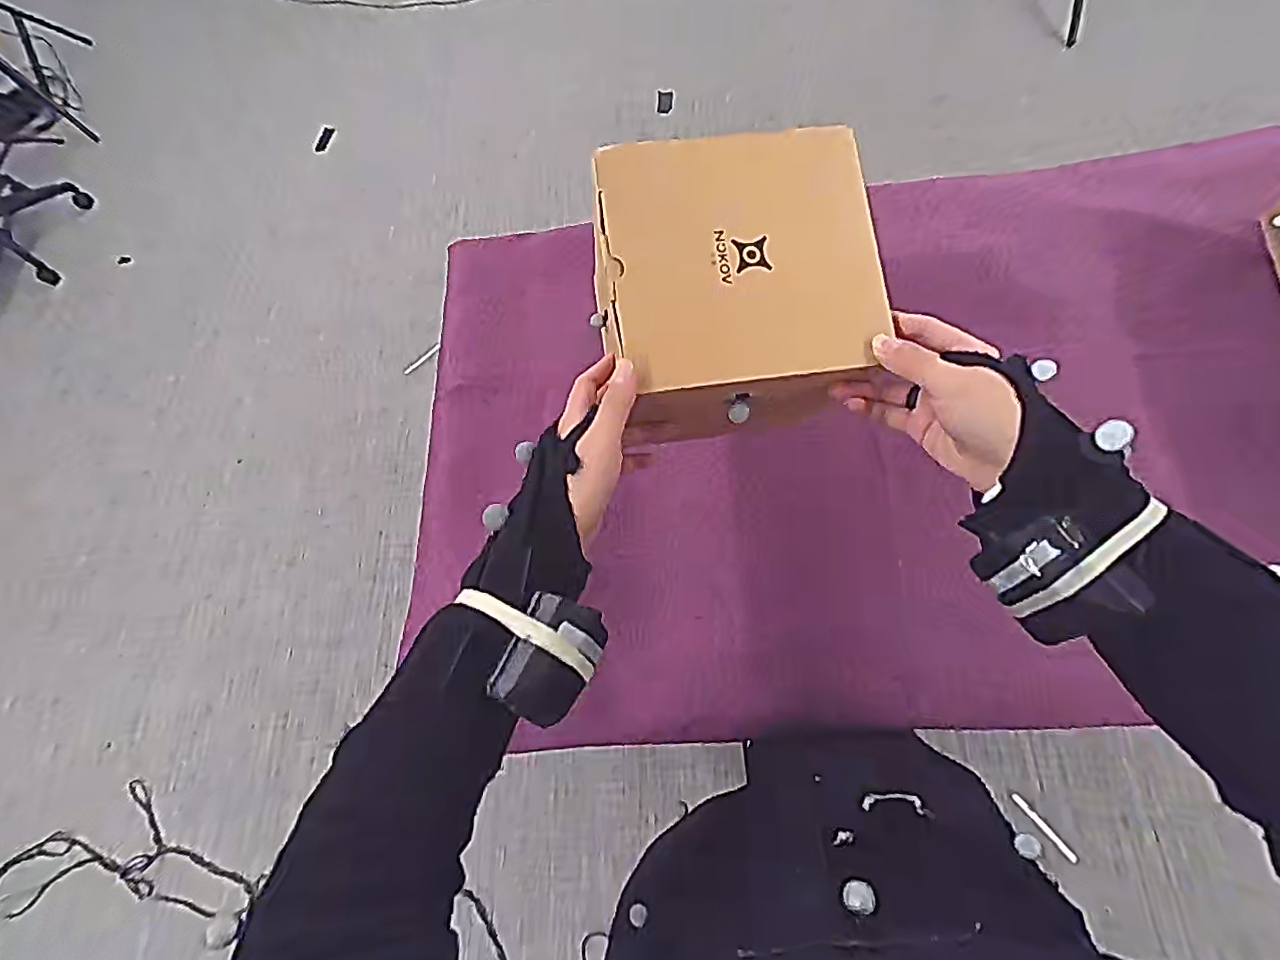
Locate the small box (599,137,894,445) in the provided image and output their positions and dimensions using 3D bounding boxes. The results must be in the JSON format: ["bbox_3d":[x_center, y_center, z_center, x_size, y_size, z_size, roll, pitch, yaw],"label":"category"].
[{"bbox_3d":[0.062,-0.130,0.425,0.179,0.176,0.168,-7,83,-4],"label":"small box"}]
